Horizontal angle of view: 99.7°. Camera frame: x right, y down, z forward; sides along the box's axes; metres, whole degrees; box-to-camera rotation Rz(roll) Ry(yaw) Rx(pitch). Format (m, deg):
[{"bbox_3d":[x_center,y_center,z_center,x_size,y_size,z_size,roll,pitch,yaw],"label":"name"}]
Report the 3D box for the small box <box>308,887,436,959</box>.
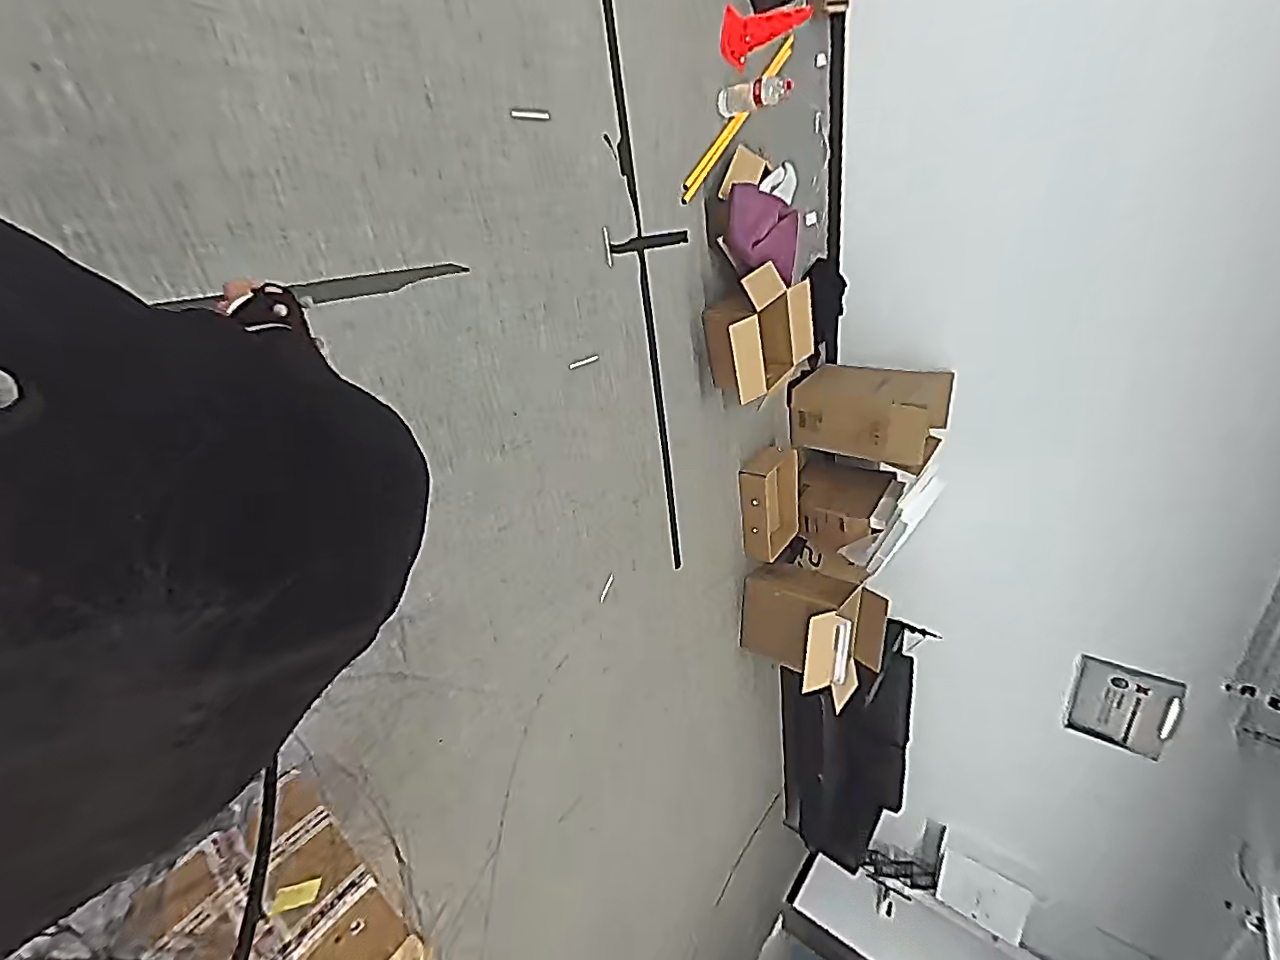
[{"bbox_3d":[-0.574,1.039,1.170,0.168,0.176,0.179,-39,125,-40],"label":"small box"}]
